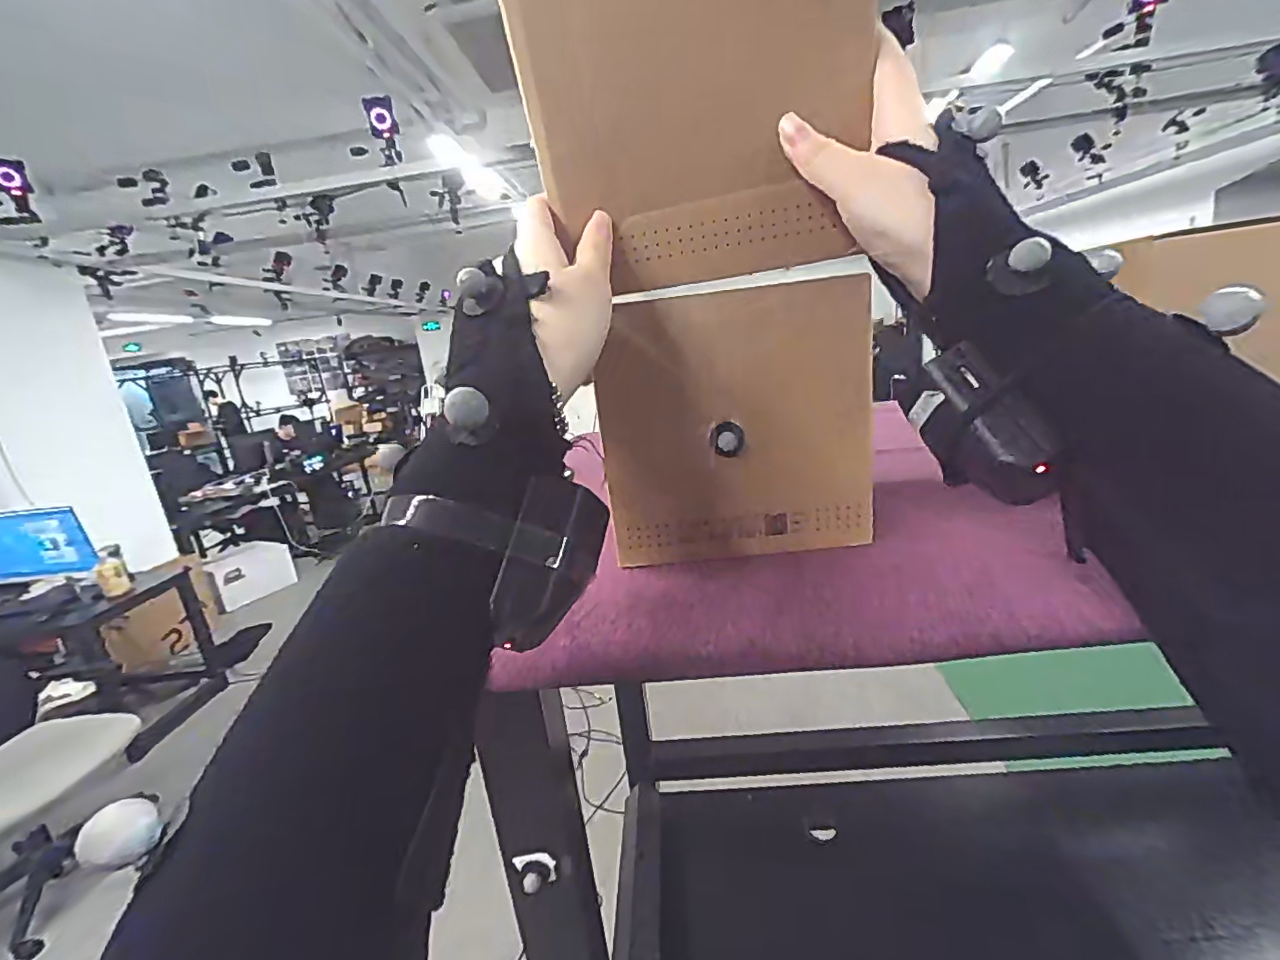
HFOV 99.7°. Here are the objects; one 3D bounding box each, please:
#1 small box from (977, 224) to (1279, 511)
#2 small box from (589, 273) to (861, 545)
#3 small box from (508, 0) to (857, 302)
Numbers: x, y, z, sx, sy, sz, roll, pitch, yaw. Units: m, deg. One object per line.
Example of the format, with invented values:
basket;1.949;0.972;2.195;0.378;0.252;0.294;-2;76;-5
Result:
small box;0.382;-0.085;0.404;0.179;0.176;0.168;-7;13;4
small box;0.062;-0.053;0.419;0.168;0.176;0.179;-5;14;3
small box;0.032;-0.221;0.353;0.179;0.176;0.168;-7;26;4
